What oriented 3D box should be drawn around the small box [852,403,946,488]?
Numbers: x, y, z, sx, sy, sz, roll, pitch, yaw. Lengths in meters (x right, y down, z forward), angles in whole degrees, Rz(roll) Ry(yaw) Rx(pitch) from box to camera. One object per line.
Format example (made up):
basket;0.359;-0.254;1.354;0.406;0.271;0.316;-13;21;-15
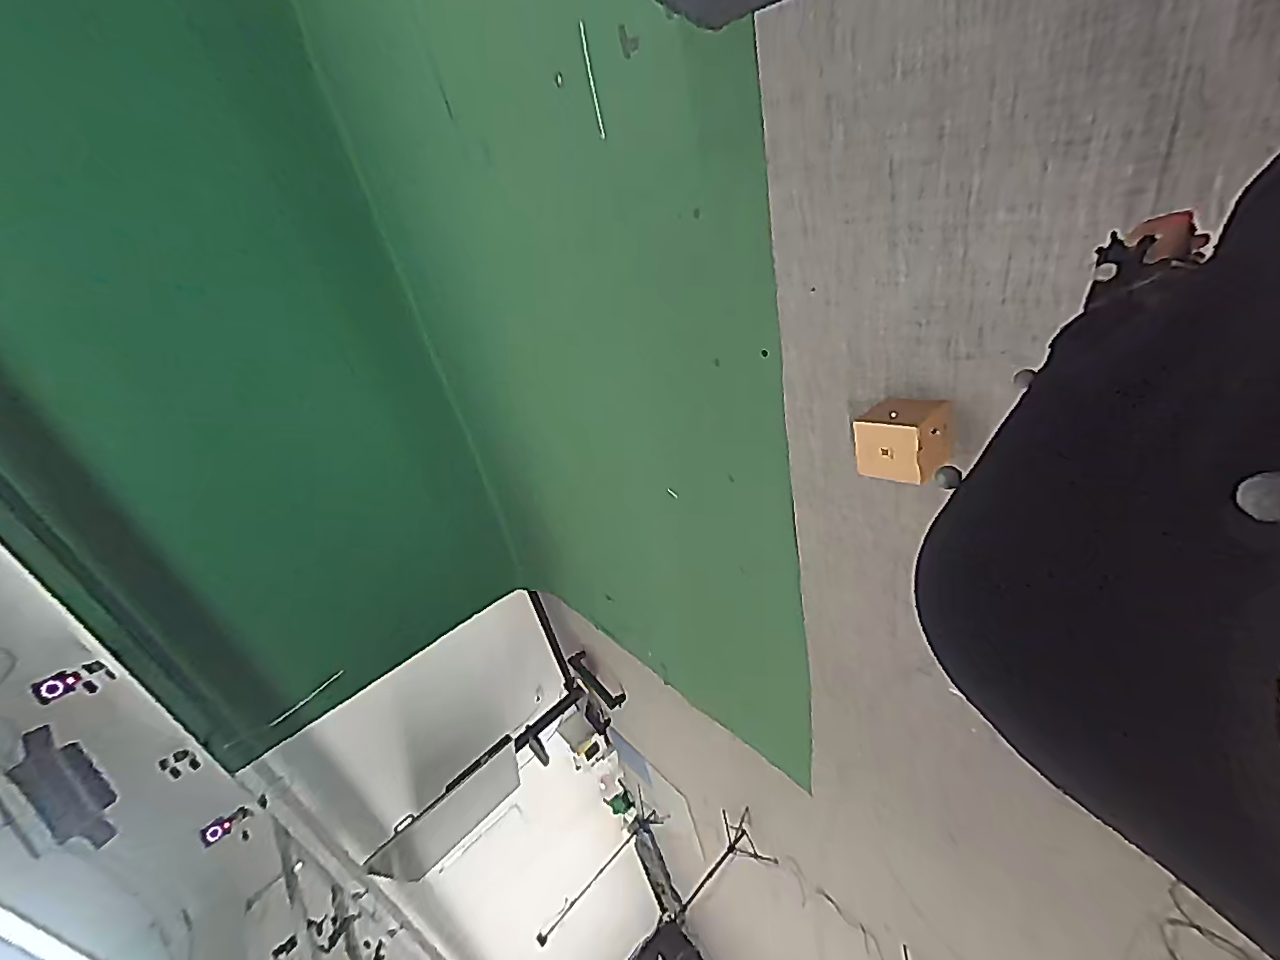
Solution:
small box;0.701;-0.100;1.451;0.179;0.176;0.168;16;128;51
